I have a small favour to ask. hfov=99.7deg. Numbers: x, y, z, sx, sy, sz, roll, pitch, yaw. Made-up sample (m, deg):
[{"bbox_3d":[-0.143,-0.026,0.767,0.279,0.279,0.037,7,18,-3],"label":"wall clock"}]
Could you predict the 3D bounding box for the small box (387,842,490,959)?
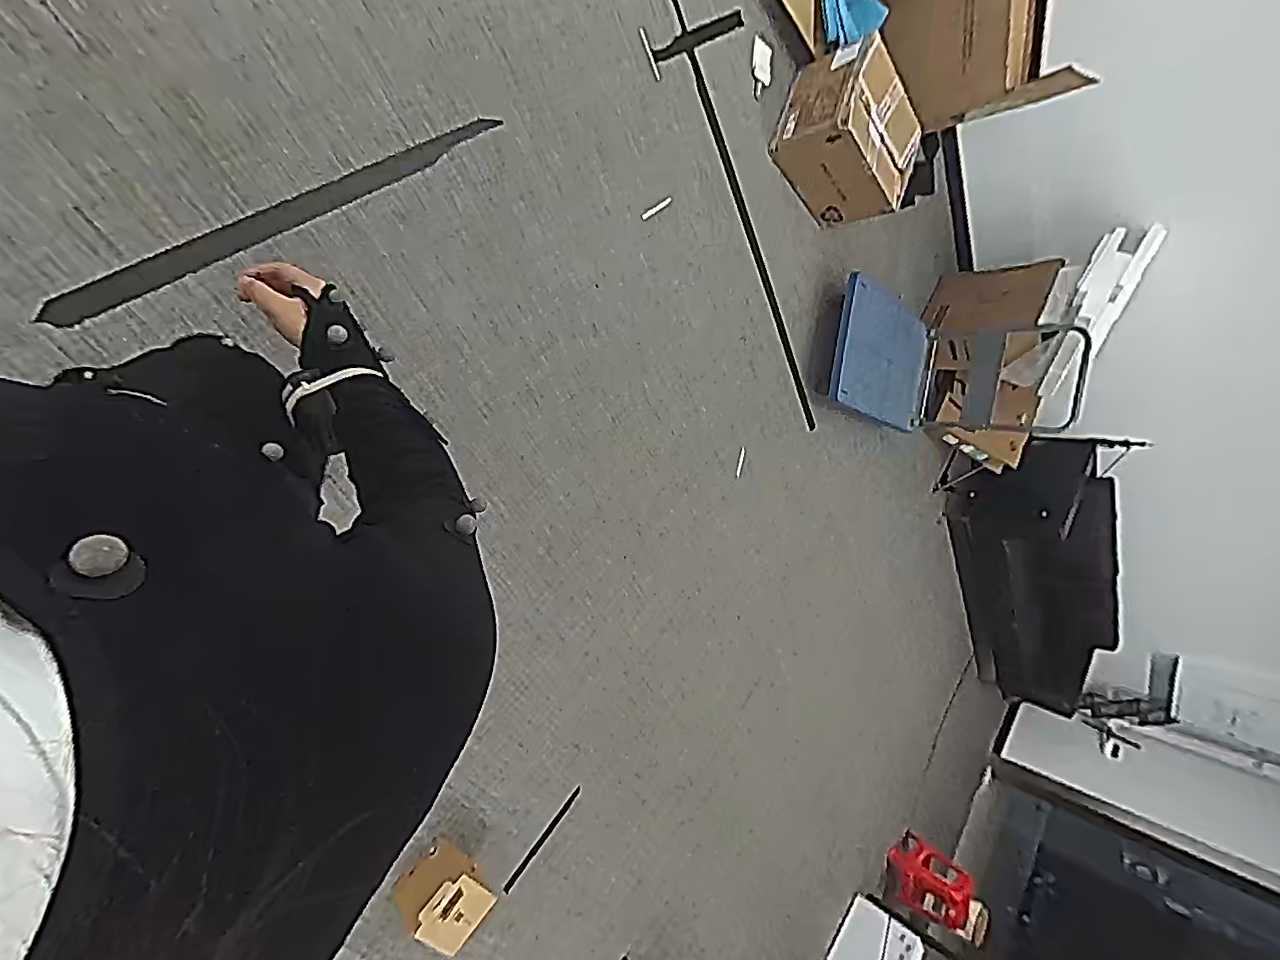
[{"bbox_3d":[-0.552,1.132,1.470,0.168,0.176,0.179,-45,125,-27],"label":"small box"}]
